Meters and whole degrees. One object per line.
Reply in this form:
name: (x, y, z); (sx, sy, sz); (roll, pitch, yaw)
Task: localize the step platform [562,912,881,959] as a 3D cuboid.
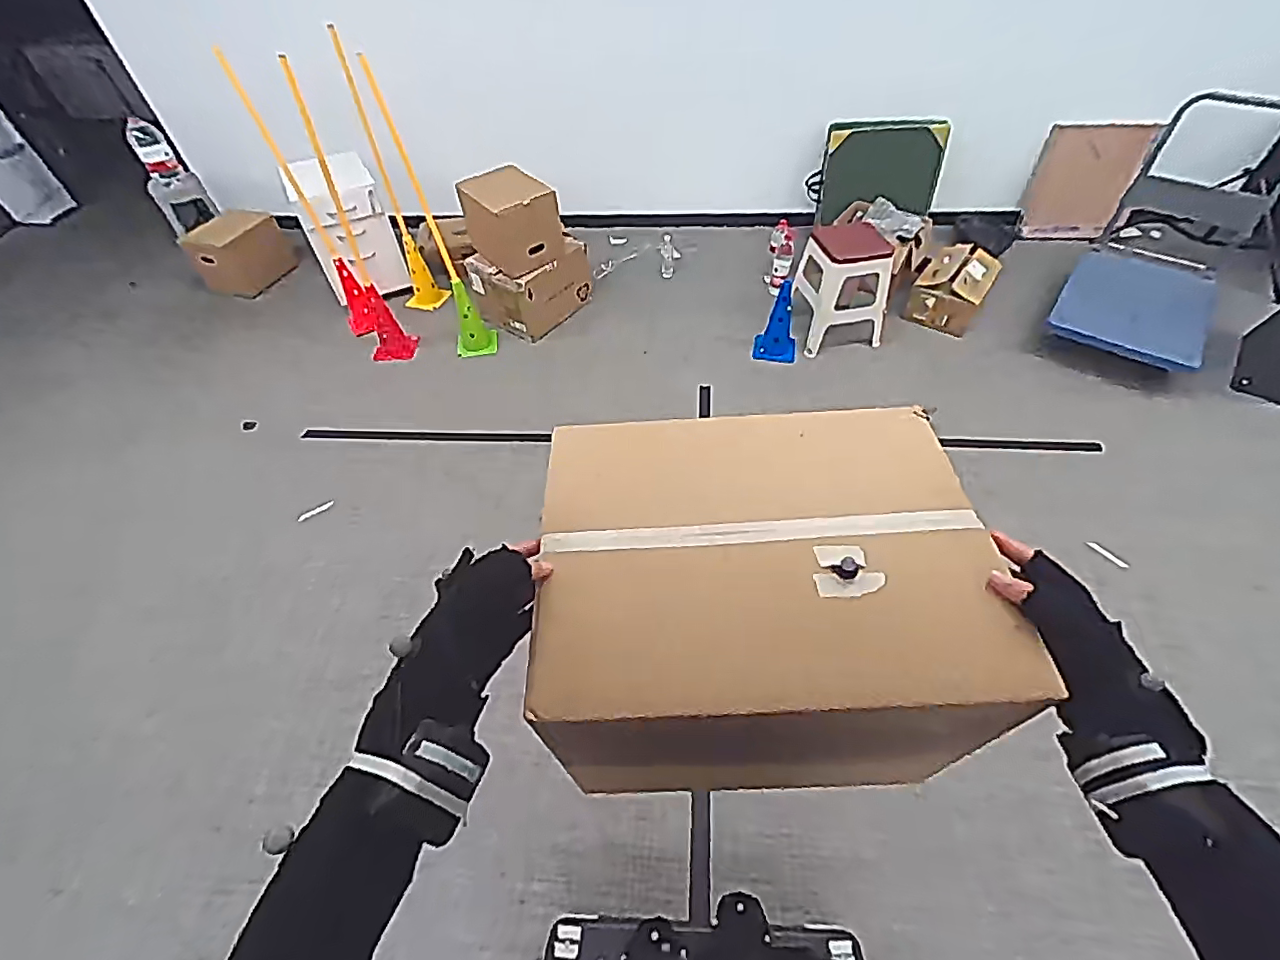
step platform: (0.166, 1.093, 1.126); (0.684, 0.204, 0.286); (1, 50, 2)

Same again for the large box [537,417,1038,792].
large box: (0.115, 0.152, 0.630); (0.408, 0.320, 0.320); (-3, 51, 1)
